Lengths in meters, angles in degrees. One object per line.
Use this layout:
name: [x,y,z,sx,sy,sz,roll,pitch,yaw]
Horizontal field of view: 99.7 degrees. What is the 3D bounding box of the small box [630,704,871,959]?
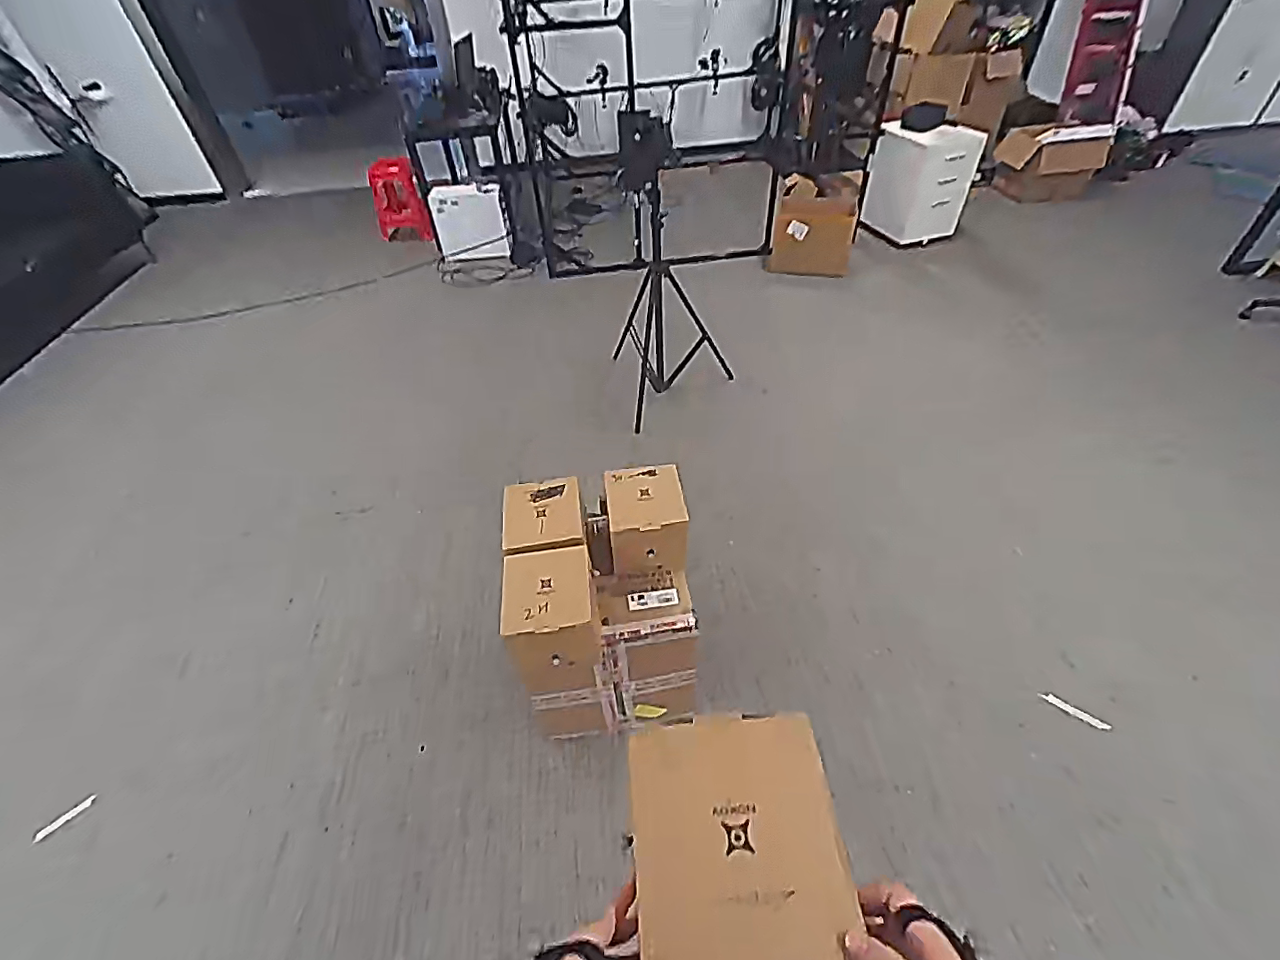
small box: [0.077,0.325,0.494,0.168,0.176,0.179,-3,50,-3]
